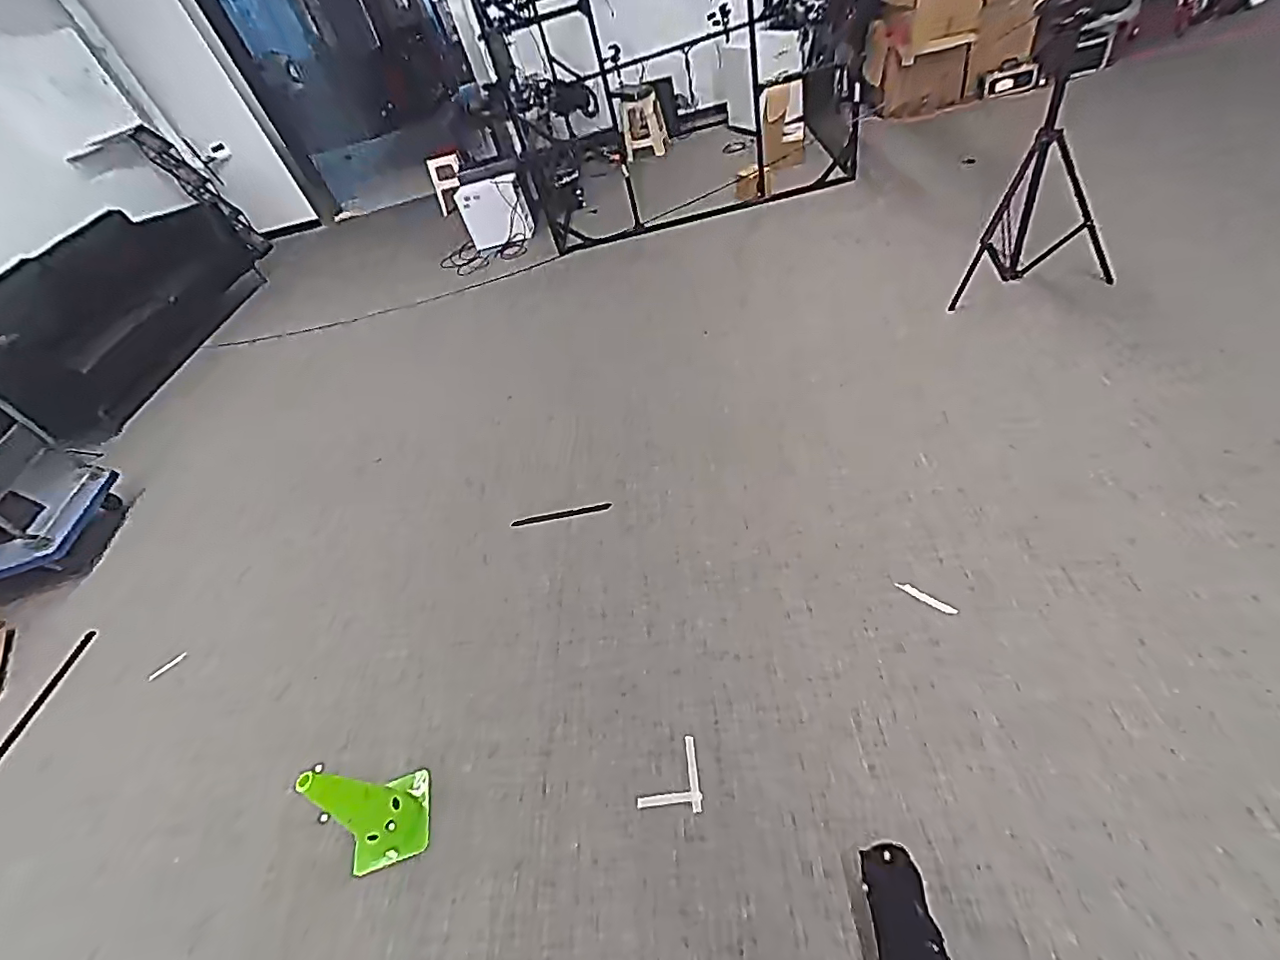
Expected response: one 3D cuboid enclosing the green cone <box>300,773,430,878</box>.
[{"bbox_3d":[-0.686,0.784,1.297,0.202,0.368,0.200,-21,44,-3],"label":"green cone"}]
